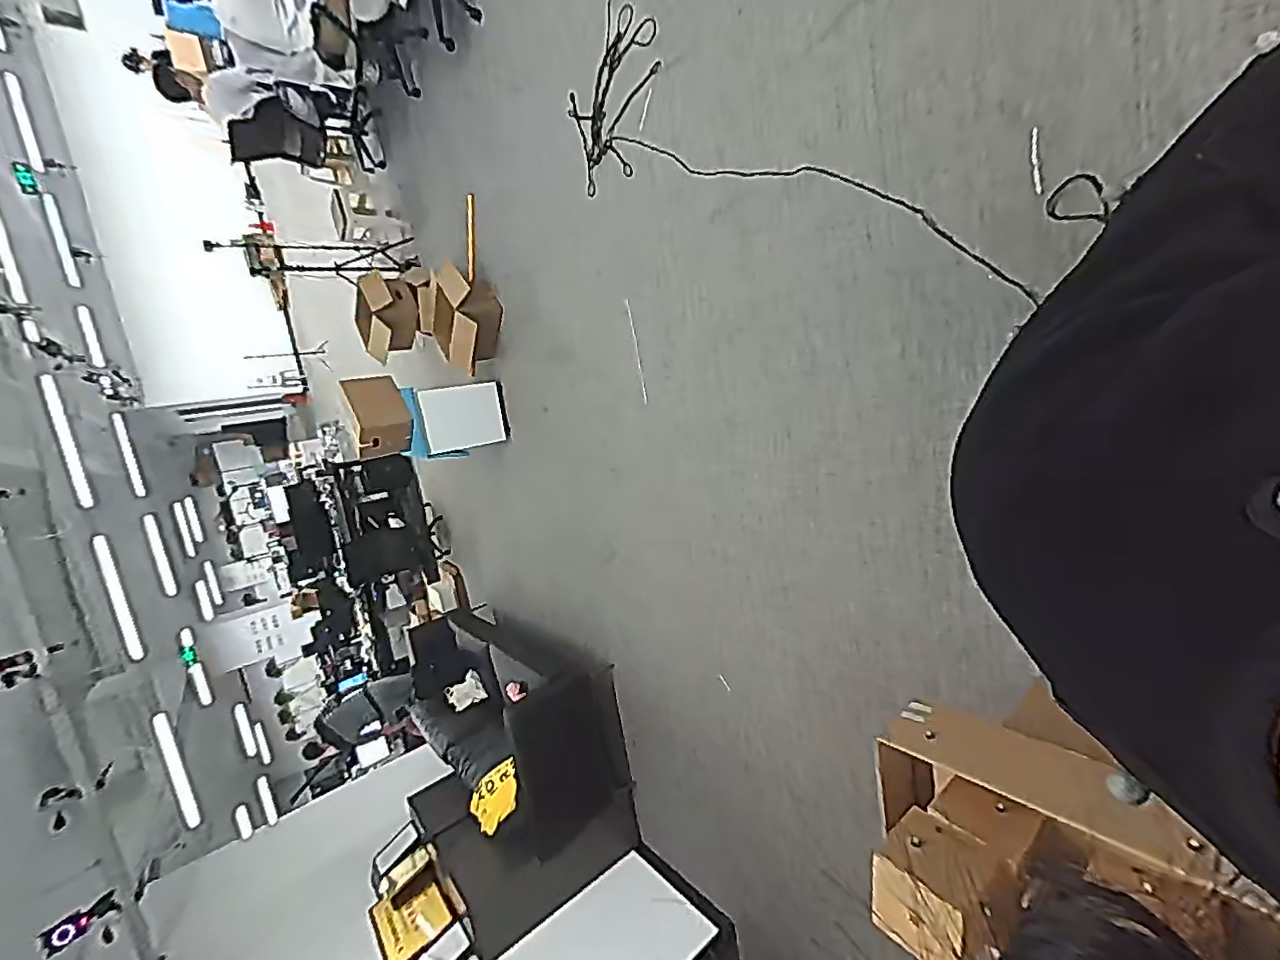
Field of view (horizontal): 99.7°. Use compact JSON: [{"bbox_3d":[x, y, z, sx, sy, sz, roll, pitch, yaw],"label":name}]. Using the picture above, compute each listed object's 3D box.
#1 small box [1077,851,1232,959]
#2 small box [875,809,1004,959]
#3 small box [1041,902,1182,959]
[{"bbox_3d":[0.872,0.791,0.916,0.168,0.176,0.179,-3,101,54],"label":"small box"},{"bbox_3d":[0.576,0.787,1.040,0.168,0.176,0.179,12,112,52],"label":"small box"},{"bbox_3d":[0.735,0.813,0.827,0.168,0.176,0.179,-2,101,55],"label":"small box"}]
